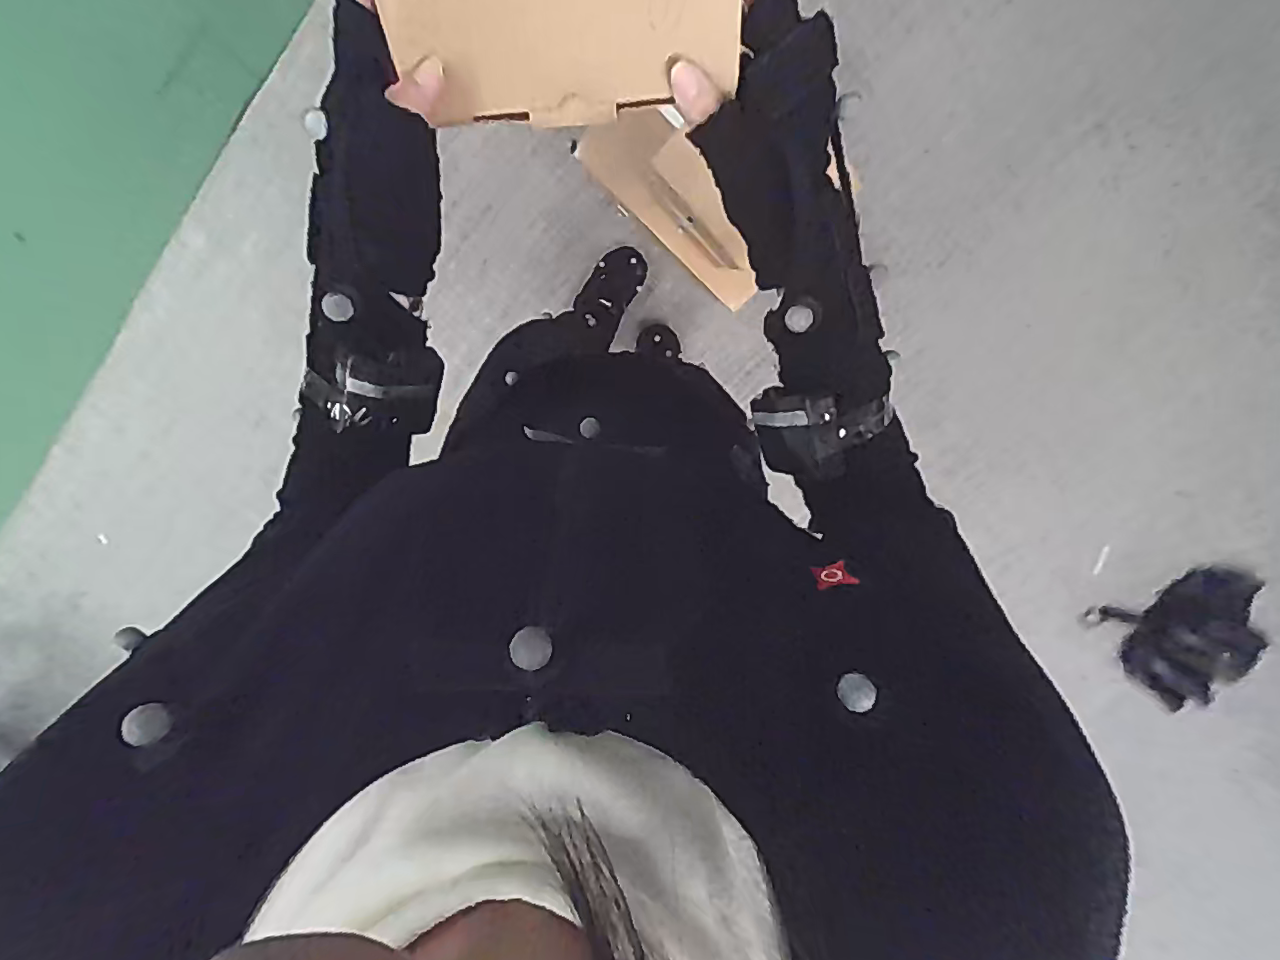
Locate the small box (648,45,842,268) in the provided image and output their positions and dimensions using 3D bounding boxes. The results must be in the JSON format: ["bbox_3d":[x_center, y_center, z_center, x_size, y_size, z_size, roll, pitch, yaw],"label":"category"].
[{"bbox_3d":[0.129,-0.412,0.719,0.179,0.176,0.168,41,109,-14],"label":"small box"}]

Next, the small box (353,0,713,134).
[{"bbox_3d":[-0.051,-0.300,0.275,0.168,0.176,0.179,-4,132,3],"label":"small box"}]
